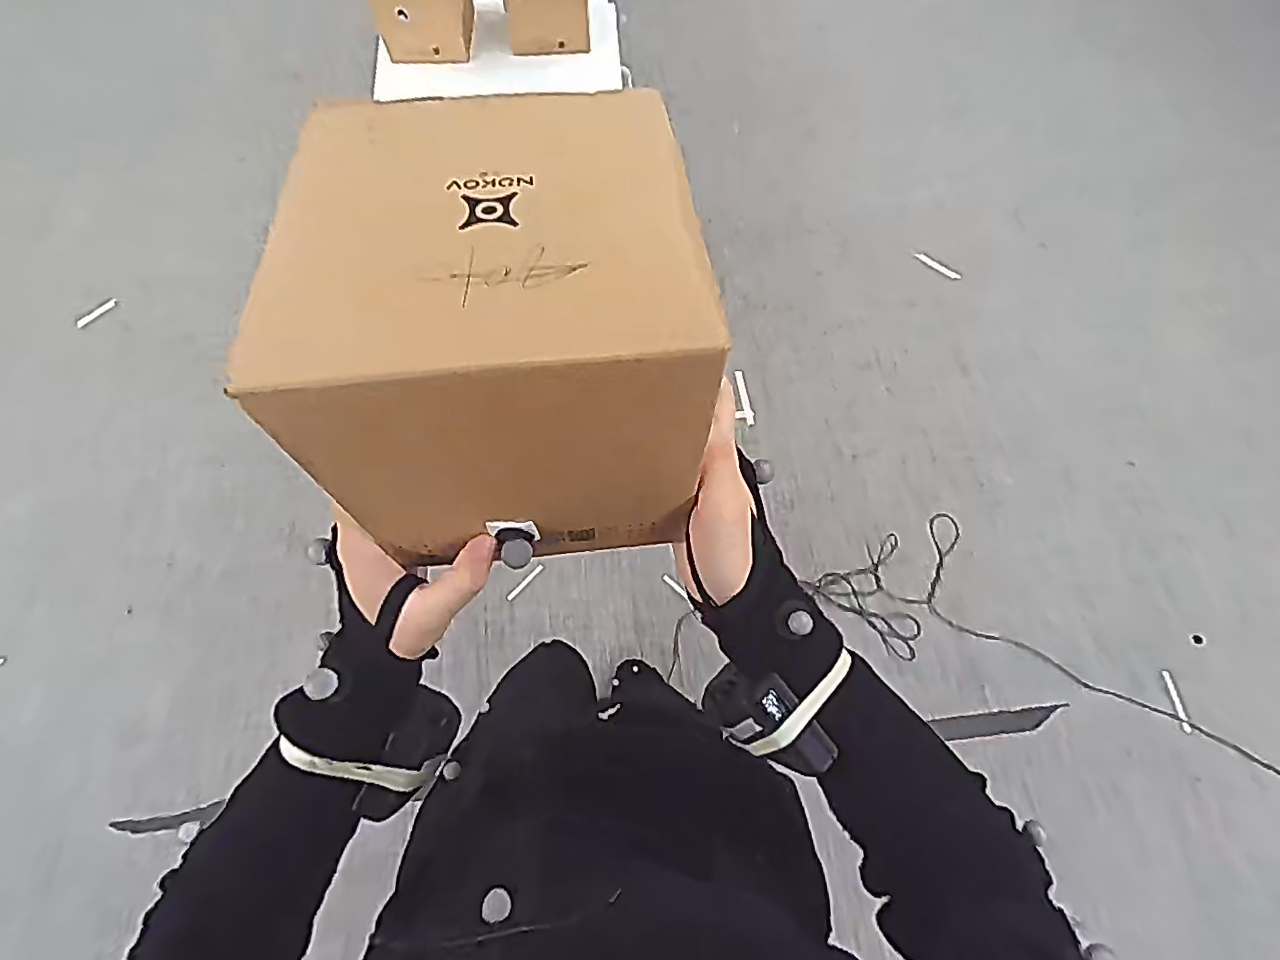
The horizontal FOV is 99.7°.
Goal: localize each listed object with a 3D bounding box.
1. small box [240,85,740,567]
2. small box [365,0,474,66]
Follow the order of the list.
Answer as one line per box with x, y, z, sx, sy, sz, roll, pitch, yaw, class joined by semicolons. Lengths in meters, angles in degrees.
-0.058;-0.072;0.287;0.168;0.176;0.179;-7;61;-4;small box
-0.448;-0.987;1.105;0.168;0.176;0.179;-2;71;-1;small box
